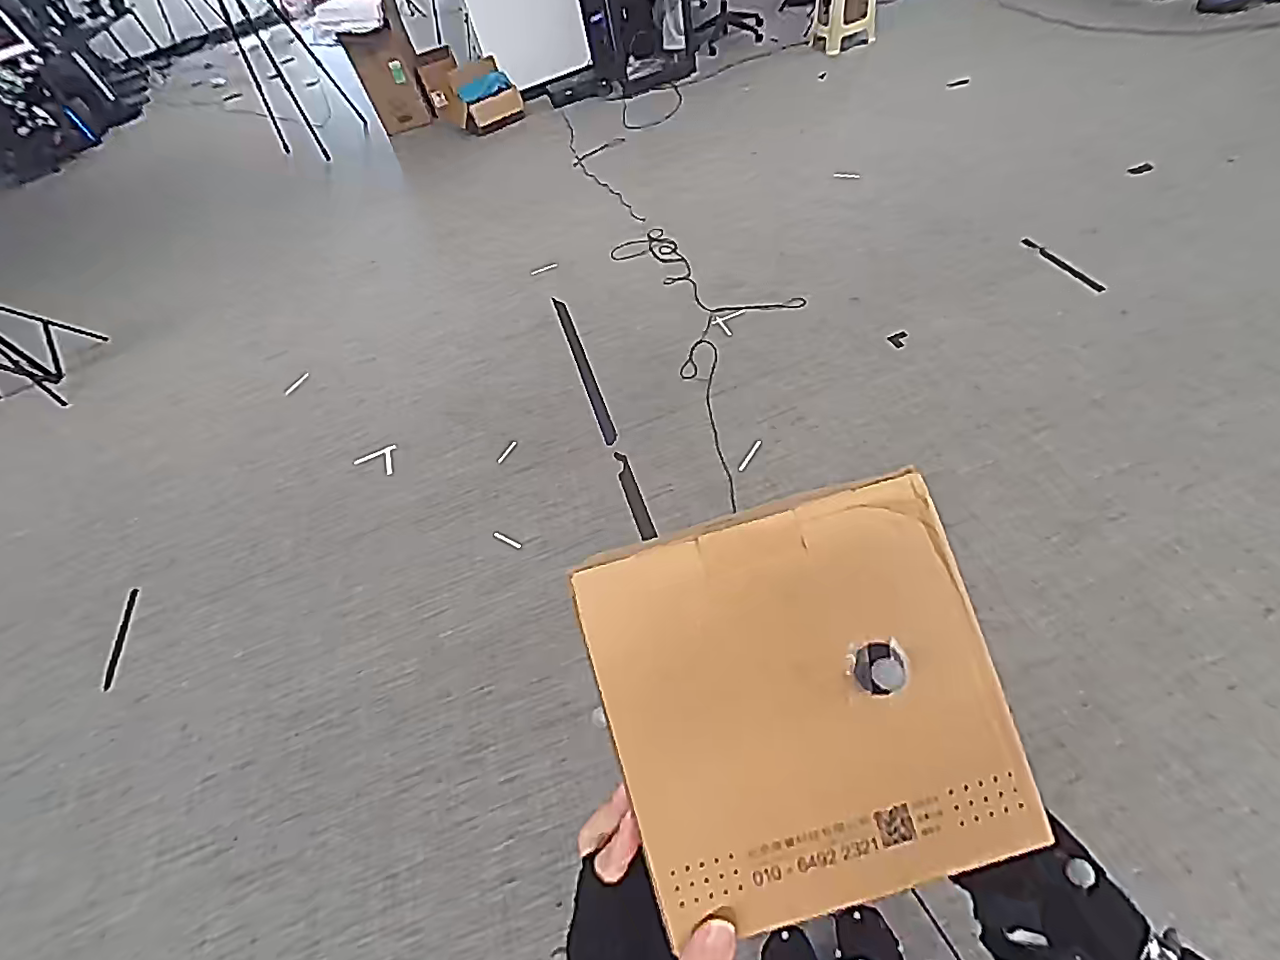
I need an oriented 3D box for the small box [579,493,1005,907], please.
[{"bbox_3d":[0.075,0.116,0.332,0.168,0.179,0.176,-17,84,1],"label":"small box"}]
